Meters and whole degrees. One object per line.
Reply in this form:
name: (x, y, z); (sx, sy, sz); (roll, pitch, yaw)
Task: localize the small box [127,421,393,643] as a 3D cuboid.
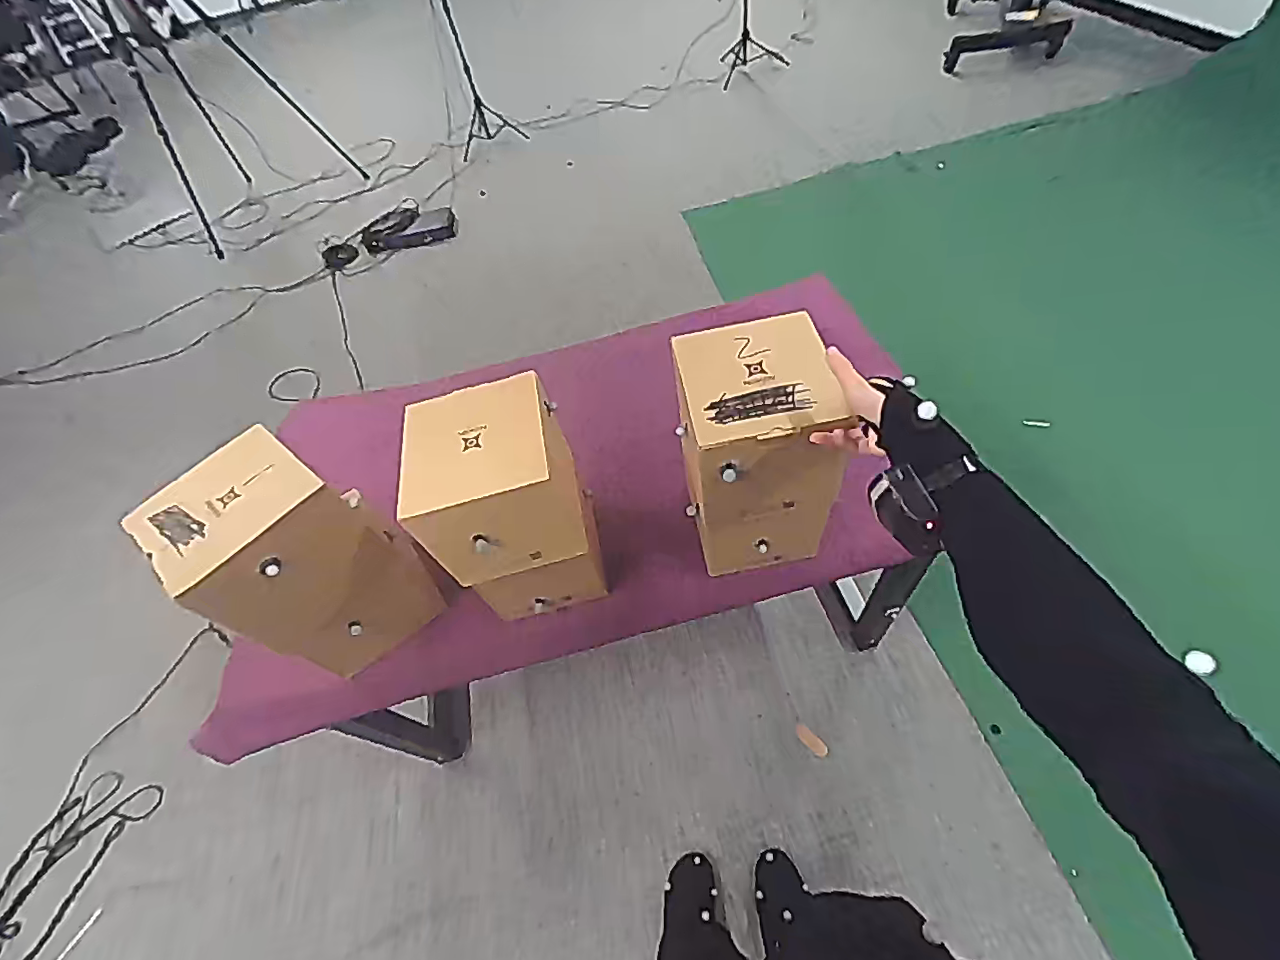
small box: (-0.448, 0.067, 0.662); (0.168, 0.176, 0.179); (32, 64, 28)

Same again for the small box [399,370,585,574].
small box: (-0.173, -0.001, 0.669); (0.168, 0.176, 0.179); (-15, 52, 0)

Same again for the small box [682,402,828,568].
small box: (0.162, 0.016, 0.800); (0.168, 0.176, 0.179); (-11, 54, 2)

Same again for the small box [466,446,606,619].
small box: (-0.155, 0.081, 0.809); (0.168, 0.176, 0.179); (-15, 53, 0)

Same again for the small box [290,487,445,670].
small box: (-0.427, 0.151, 0.803); (0.179, 0.176, 0.168); (-36, 57, -15)
